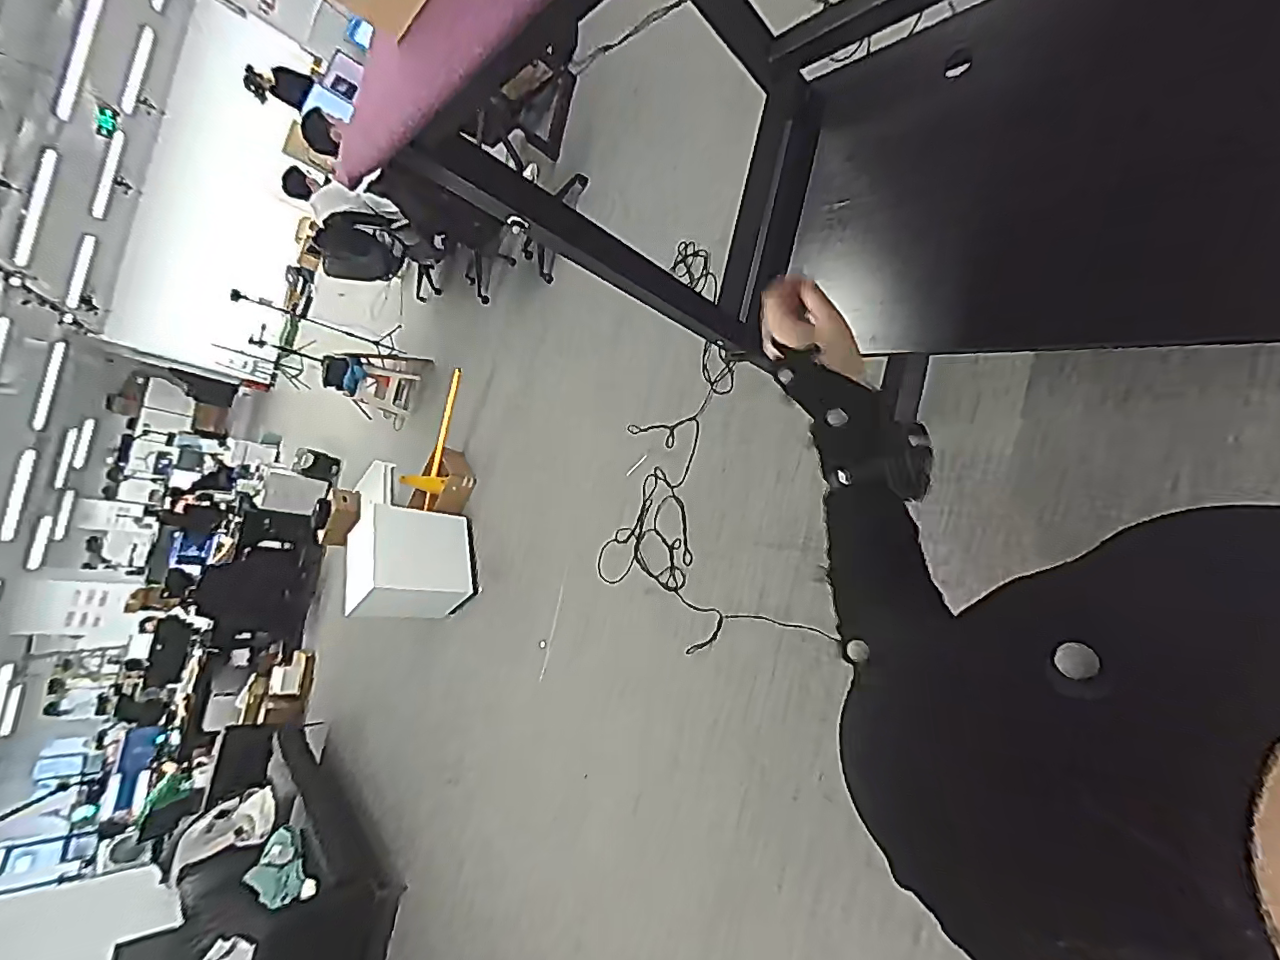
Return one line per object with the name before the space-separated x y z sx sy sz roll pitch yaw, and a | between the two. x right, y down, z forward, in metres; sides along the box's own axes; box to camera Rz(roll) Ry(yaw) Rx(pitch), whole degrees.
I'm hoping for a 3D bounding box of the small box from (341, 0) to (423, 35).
small box | -0.235 -0.528 0.441 0.179 0.176 0.168 11 88 48
